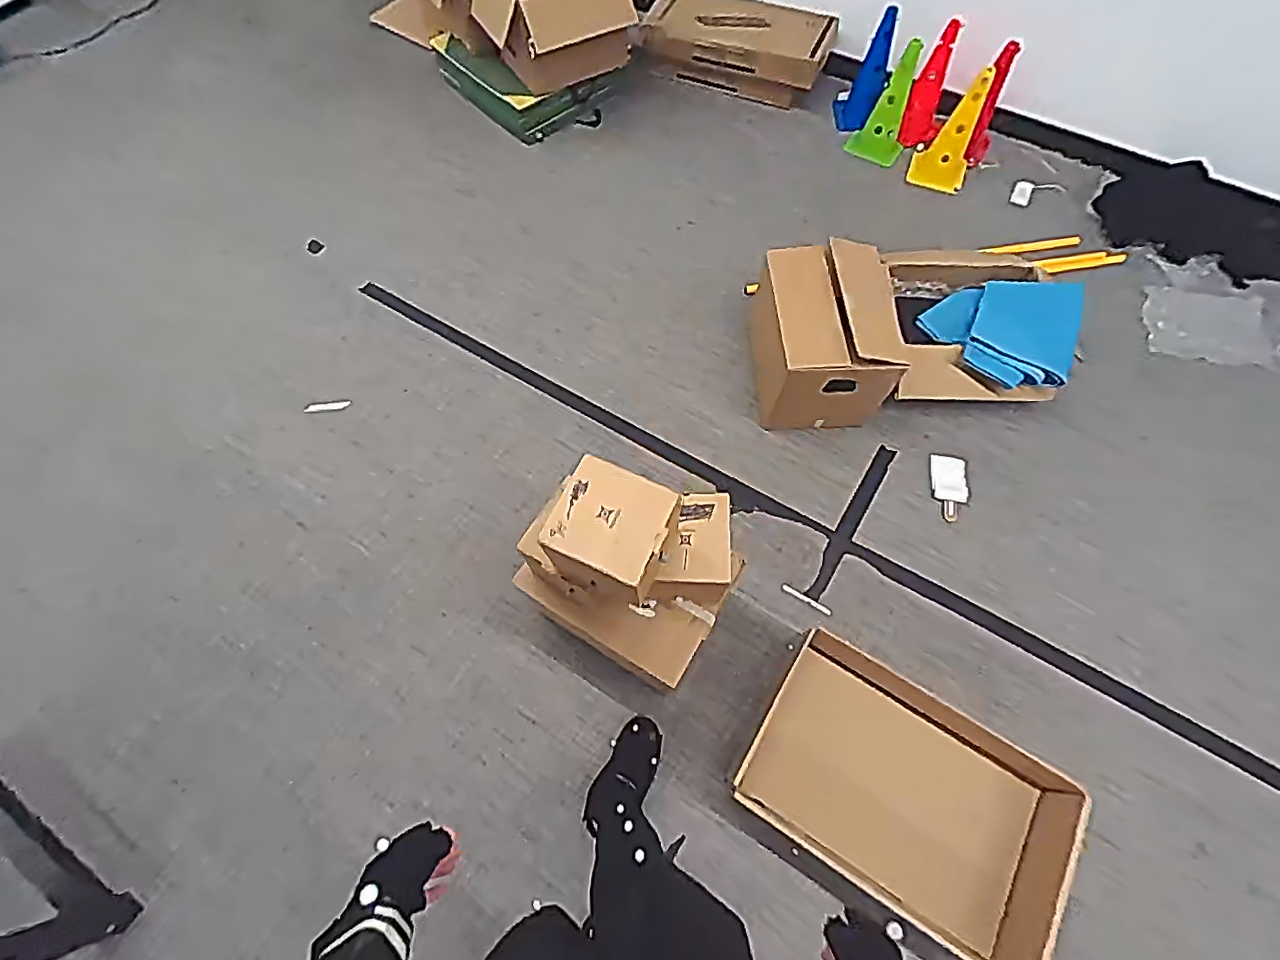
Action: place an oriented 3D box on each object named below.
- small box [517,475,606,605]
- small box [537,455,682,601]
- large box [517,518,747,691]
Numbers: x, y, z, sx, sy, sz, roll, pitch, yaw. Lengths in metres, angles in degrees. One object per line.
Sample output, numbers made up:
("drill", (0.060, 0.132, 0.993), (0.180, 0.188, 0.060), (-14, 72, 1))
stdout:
("small box", (-0.115, 0.127, 1.074), (0.168, 0.176, 0.179), (29, 69, 10))
("small box", (-0.044, 0.090, 0.909), (0.179, 0.176, 0.168), (24, 69, 11))
("large box", (-0.017, 0.252, 1.282), (0.408, 0.320, 0.320), (29, 70, 12))
